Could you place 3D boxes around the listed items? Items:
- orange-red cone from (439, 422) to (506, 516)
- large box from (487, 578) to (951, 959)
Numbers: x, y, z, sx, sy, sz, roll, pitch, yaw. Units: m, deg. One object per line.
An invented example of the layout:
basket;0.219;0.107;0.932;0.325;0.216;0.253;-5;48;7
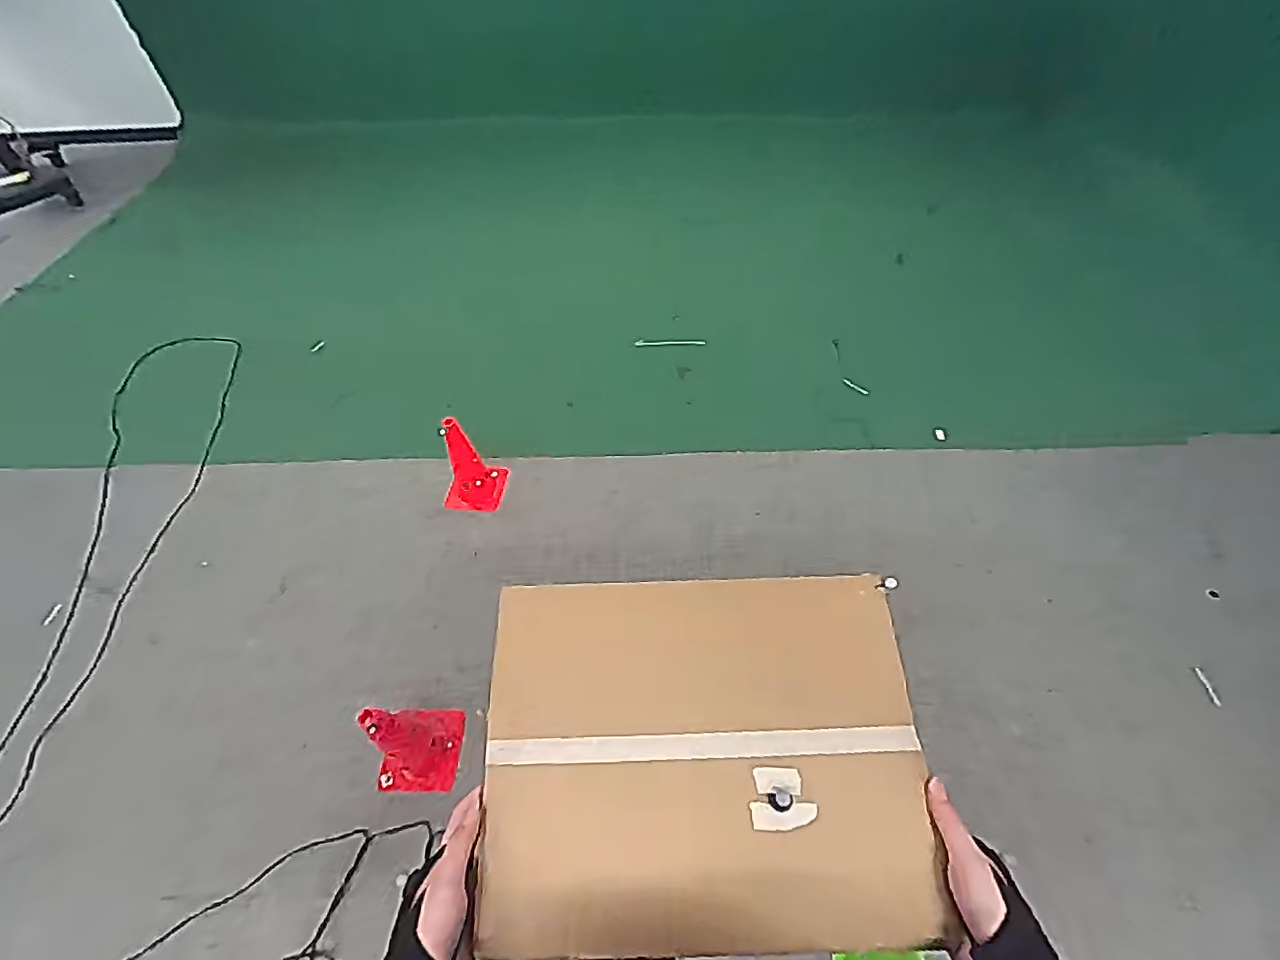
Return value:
orange-red cone;-0.609;-0.060;1.832;0.199;0.360;0.198;4;52;6
large box;0.060;0.318;0.651;0.408;0.320;0.320;-2;65;-1
